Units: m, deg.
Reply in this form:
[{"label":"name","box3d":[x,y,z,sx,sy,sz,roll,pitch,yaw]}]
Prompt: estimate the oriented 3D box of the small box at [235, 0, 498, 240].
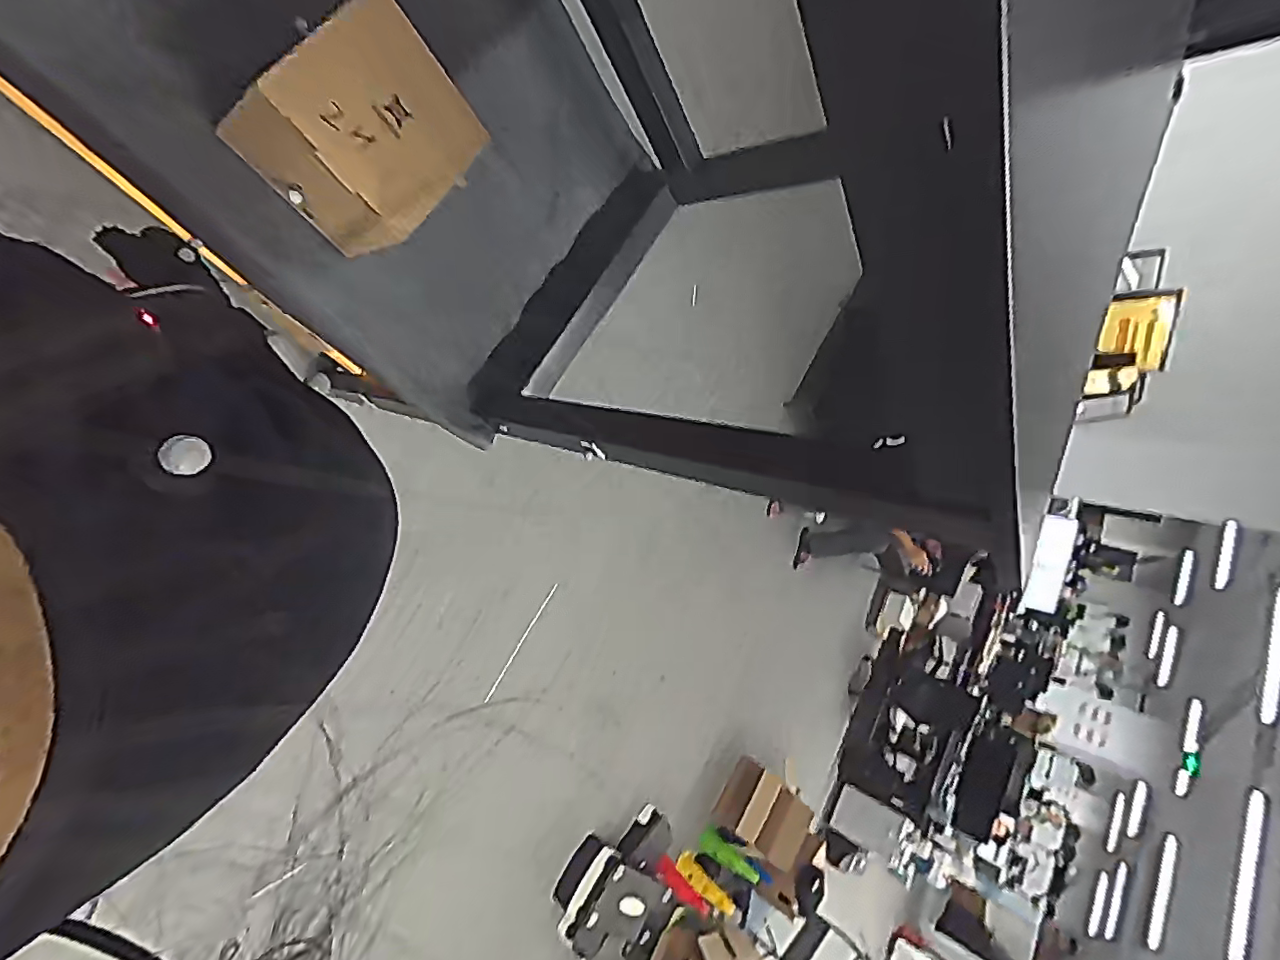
[{"label":"small box","box3d":[-0.302,-0.397,0.599,0.168,0.176,0.179,47,65,-43]}]
